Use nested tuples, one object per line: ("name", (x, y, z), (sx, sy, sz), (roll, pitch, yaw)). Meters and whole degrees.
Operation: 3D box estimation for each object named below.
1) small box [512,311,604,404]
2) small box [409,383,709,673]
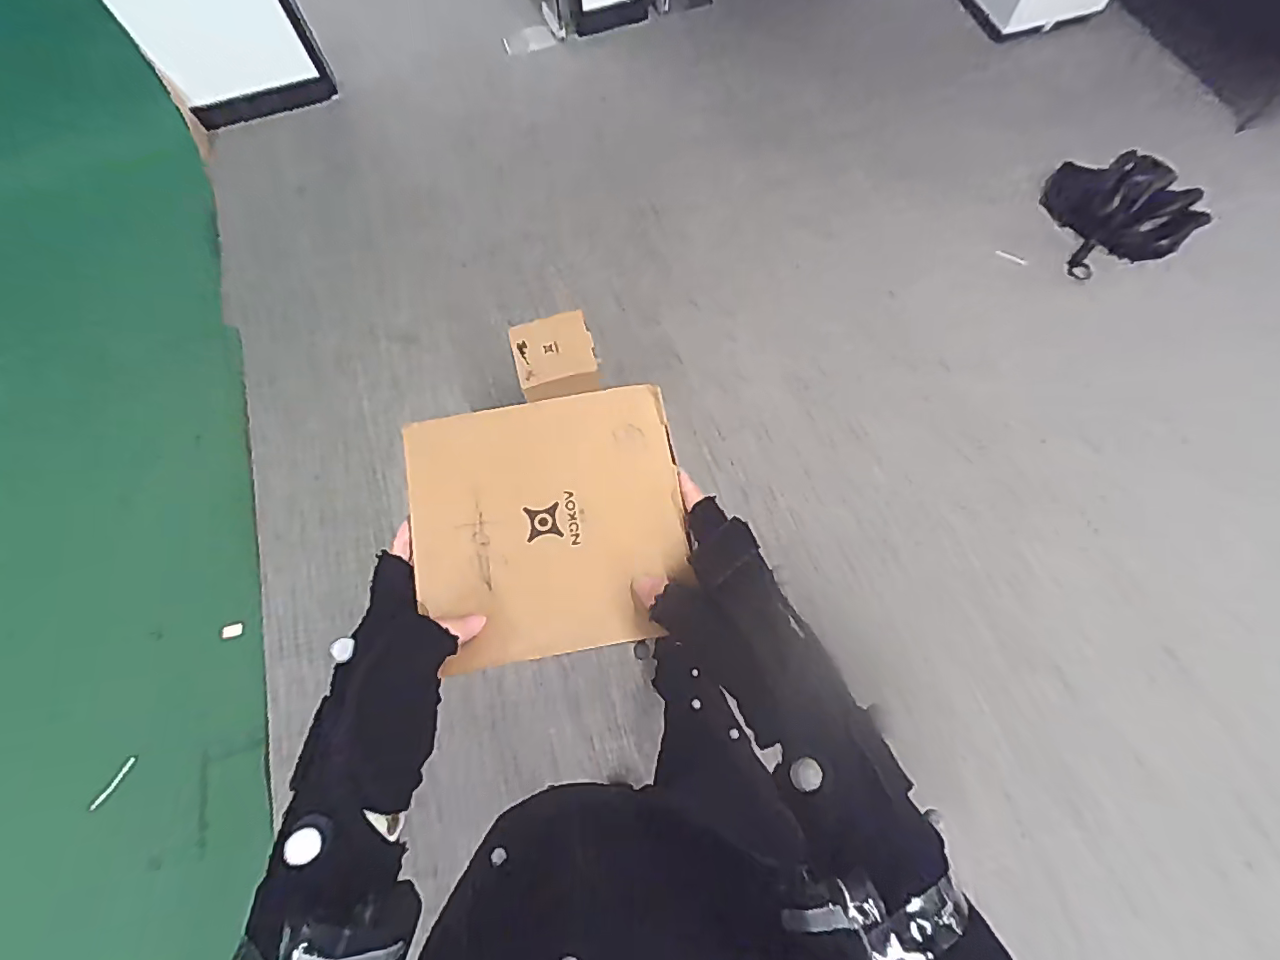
("small box", (-0.185, -0.264, 1.275), (0.179, 0.176, 0.168), (-14, 70, -3))
("small box", (-0.056, 0.045, 0.429), (0.179, 0.176, 0.168), (-12, 75, -2))
